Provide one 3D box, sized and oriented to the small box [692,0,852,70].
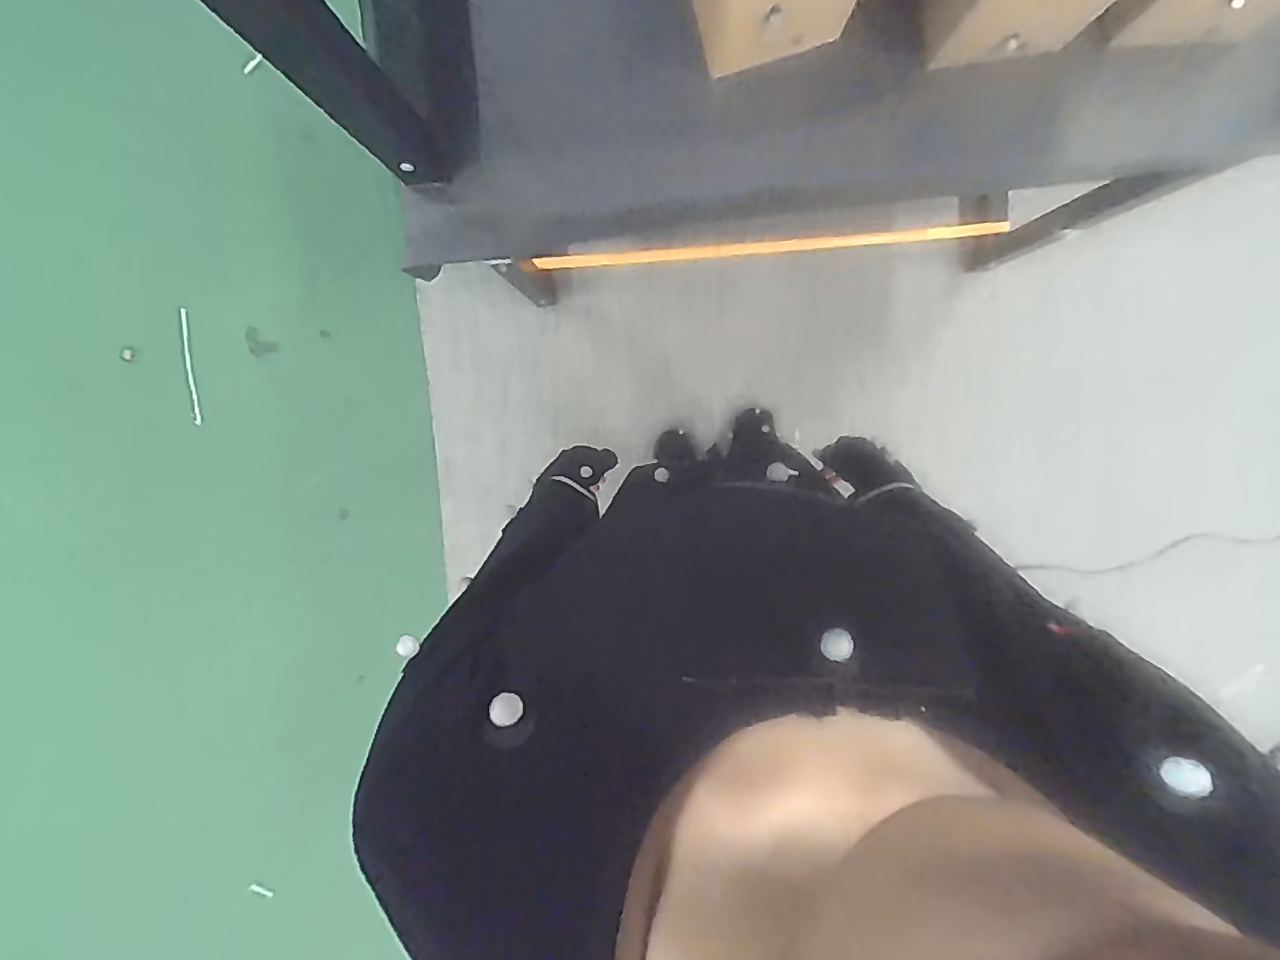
[{"bbox_3d":[0.144,-0.594,0.590,0.168,0.176,0.179,-15,96,4],"label":"small box"}]
